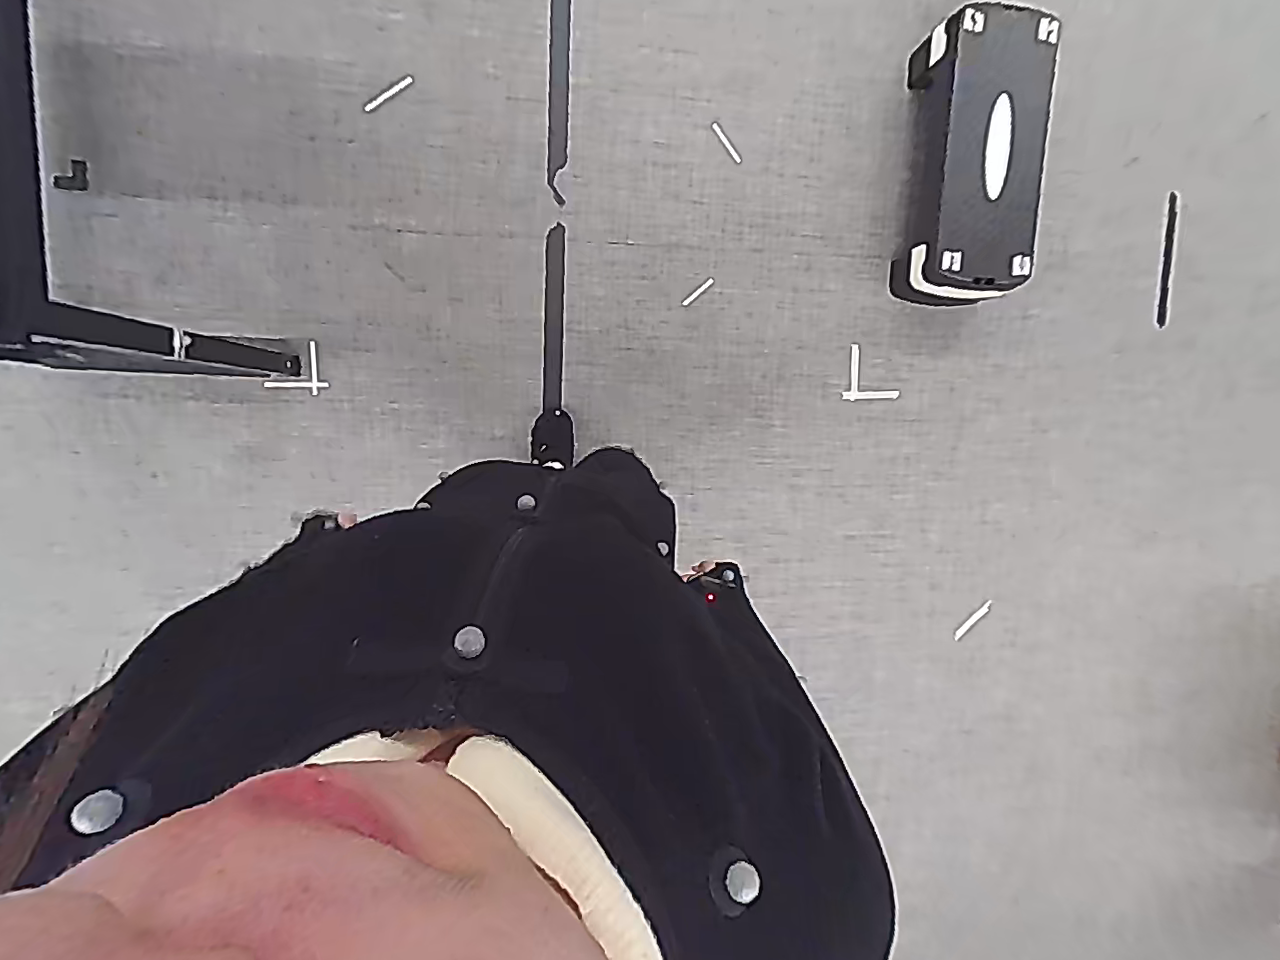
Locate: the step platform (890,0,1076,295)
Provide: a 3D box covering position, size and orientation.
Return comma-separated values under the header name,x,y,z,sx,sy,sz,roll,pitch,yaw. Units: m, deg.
name,x,y,z,sx,sy,sz,roll,pitch,yaw
step platform,0.887,-0.859,1.414,0.286,0.204,0.684,7,94,-7
